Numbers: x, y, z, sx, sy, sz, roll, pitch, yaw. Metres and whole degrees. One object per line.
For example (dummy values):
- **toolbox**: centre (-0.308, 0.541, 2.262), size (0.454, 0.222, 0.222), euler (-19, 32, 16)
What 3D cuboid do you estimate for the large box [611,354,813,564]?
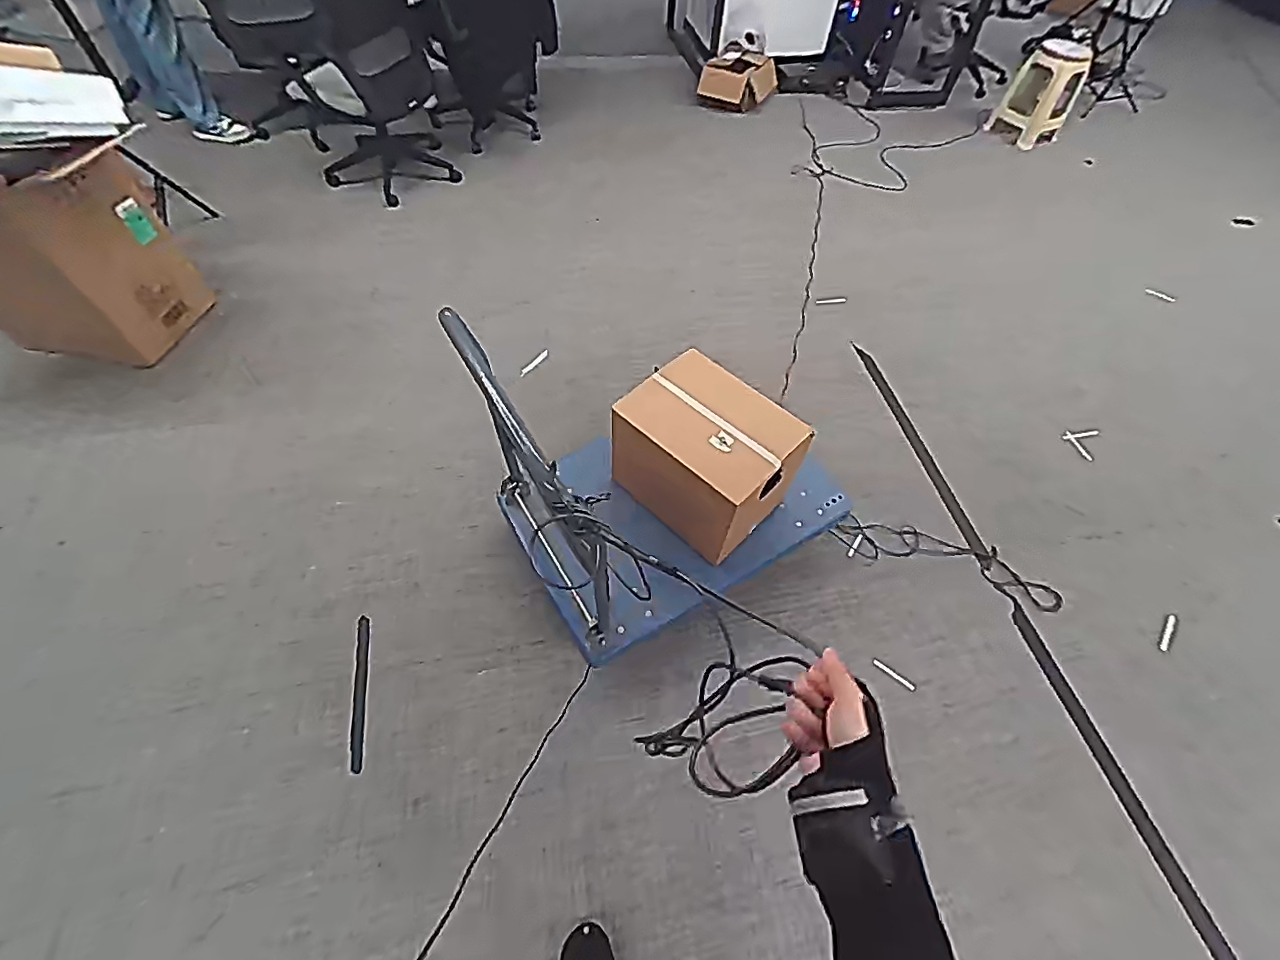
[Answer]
- **large box**: centre (0.168, -0.057, 1.442), size (0.408, 0.320, 0.320), euler (40, 63, 21)
